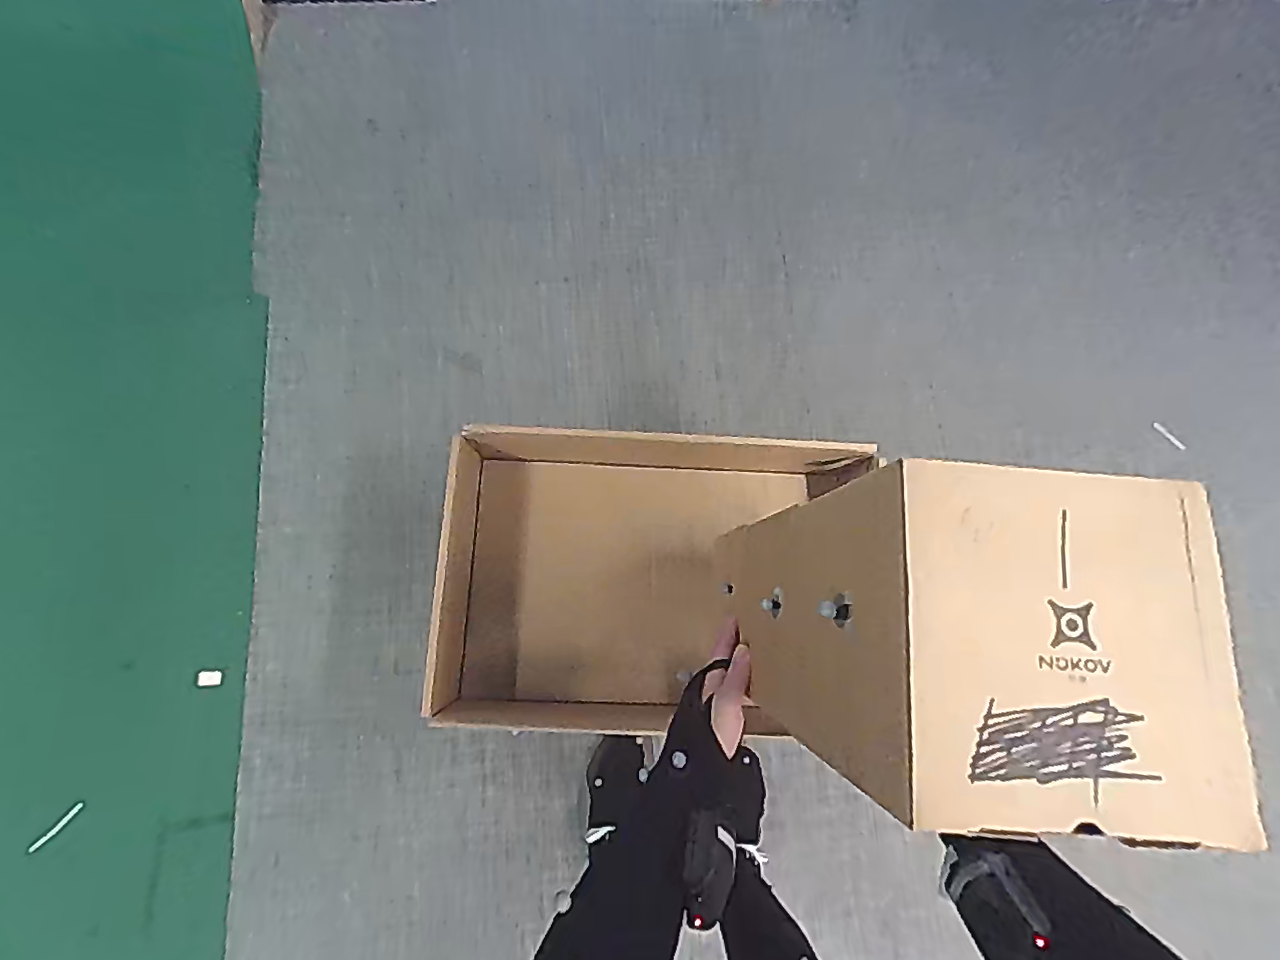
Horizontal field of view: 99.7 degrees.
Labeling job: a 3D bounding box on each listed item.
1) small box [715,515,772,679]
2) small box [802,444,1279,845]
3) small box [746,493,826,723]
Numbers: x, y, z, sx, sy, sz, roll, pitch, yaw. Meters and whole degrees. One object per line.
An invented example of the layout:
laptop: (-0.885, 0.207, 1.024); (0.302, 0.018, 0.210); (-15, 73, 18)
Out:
small box: (0.190, 0.148, 0.659); (0.168, 0.176, 0.179); (5, 77, -3)
small box: (0.209, 0.090, 0.337); (0.168, 0.176, 0.179); (5, 77, -2)
small box: (0.199, 0.119, 0.498); (0.168, 0.176, 0.179); (5, 78, -2)
